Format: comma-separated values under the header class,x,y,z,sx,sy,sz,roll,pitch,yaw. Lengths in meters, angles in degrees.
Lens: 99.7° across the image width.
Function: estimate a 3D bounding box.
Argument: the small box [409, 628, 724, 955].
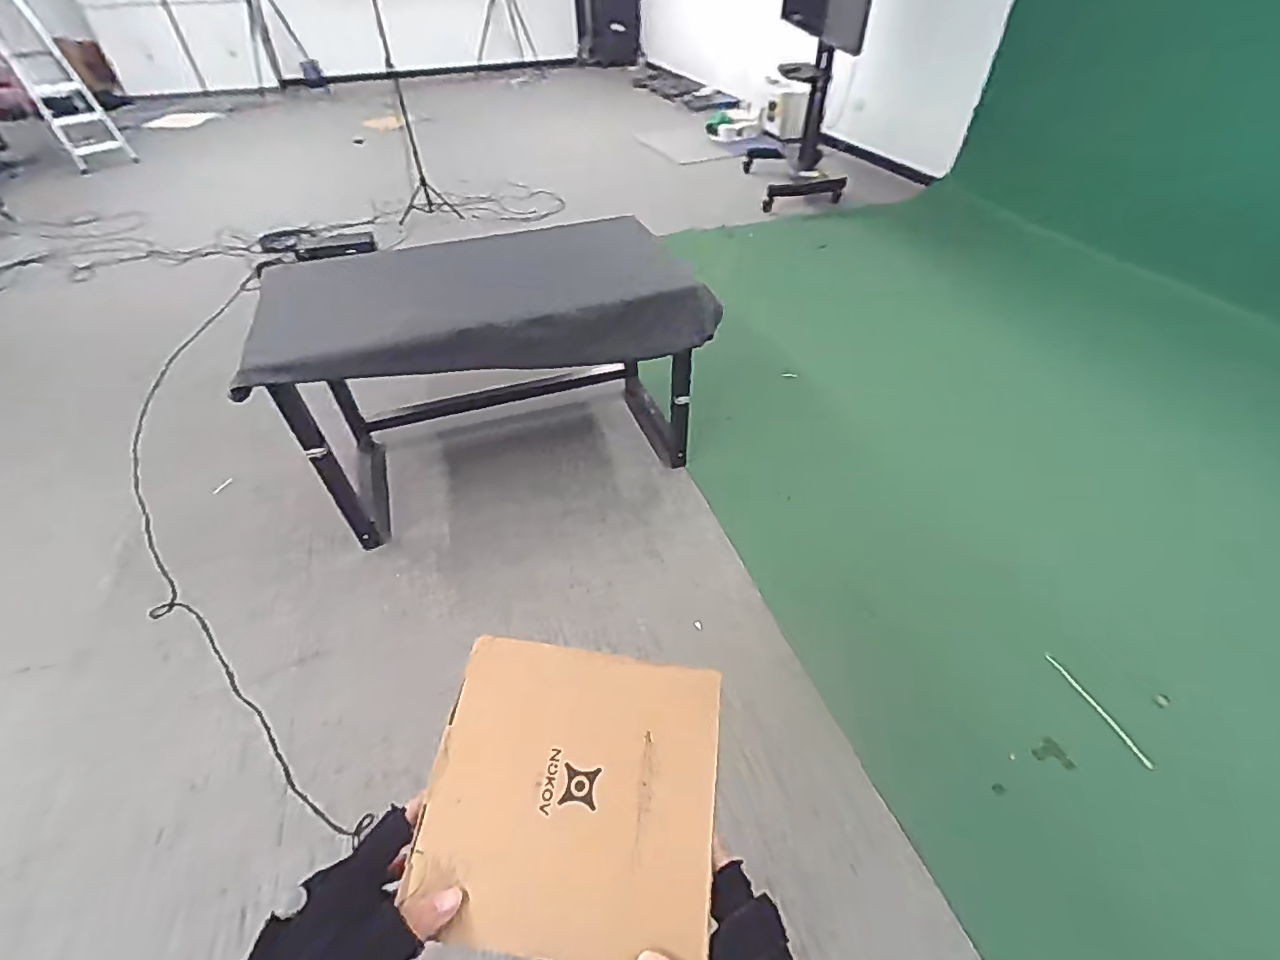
class,x,y,z,sx,sy,sz,roll,pitch,yaw
small box,-0.037,0.223,0.405,0.179,0.176,0.168,6,59,1
